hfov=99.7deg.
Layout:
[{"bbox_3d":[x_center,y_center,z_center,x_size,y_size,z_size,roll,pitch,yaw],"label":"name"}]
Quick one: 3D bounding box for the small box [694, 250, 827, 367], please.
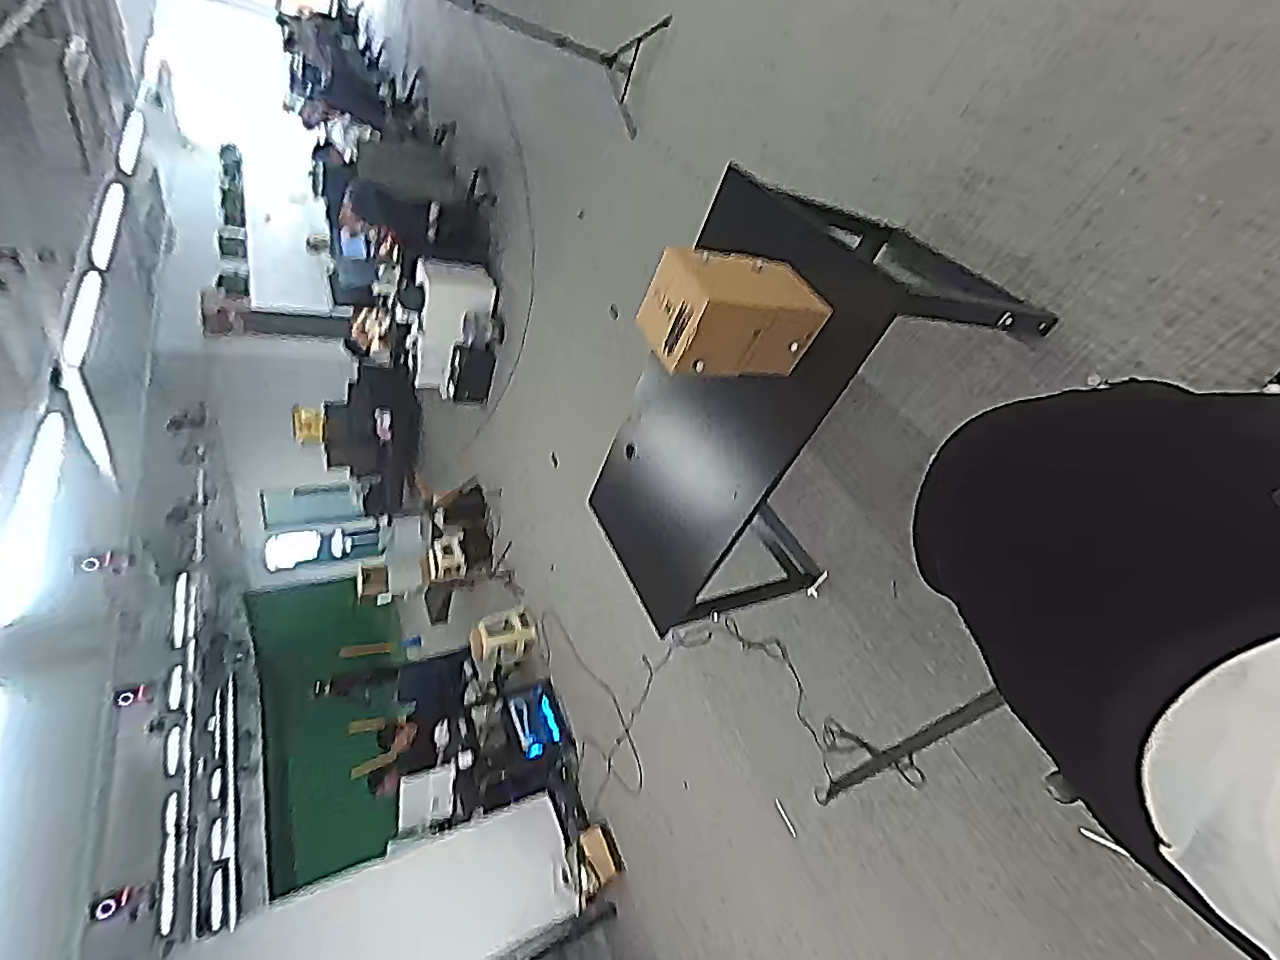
[{"bbox_3d":[0.250,-0.352,1.139,0.179,0.176,0.168,63,142,30],"label":"small box"}]
